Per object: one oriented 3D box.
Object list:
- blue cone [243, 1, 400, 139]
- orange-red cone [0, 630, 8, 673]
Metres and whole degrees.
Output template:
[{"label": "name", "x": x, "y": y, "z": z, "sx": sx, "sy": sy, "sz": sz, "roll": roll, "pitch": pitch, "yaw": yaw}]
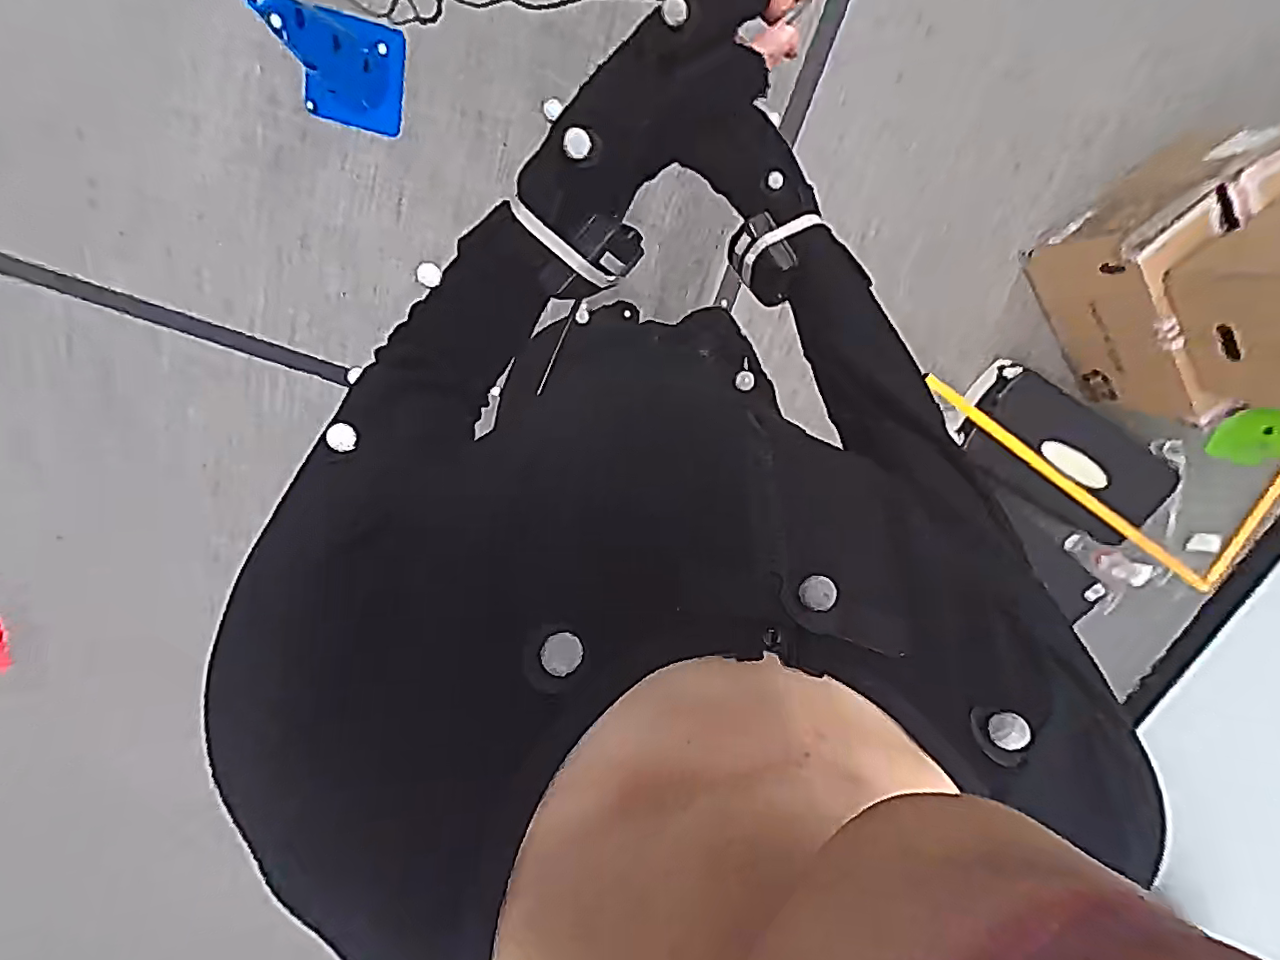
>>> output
[{"label": "blue cone", "x": -0.597, "y": -0.786, "z": 0.991, "sx": 0.193, "sy": 0.380, "sz": 0.192, "roll": 12, "pitch": 110, "yaw": -9}, {"label": "orange-red cone", "x": -1.965, "y": 0.544, "z": 1.429, "sx": 0.199, "sy": 0.360, "sz": 0.198, "roll": 13, "pitch": 111, "yaw": -10}]
